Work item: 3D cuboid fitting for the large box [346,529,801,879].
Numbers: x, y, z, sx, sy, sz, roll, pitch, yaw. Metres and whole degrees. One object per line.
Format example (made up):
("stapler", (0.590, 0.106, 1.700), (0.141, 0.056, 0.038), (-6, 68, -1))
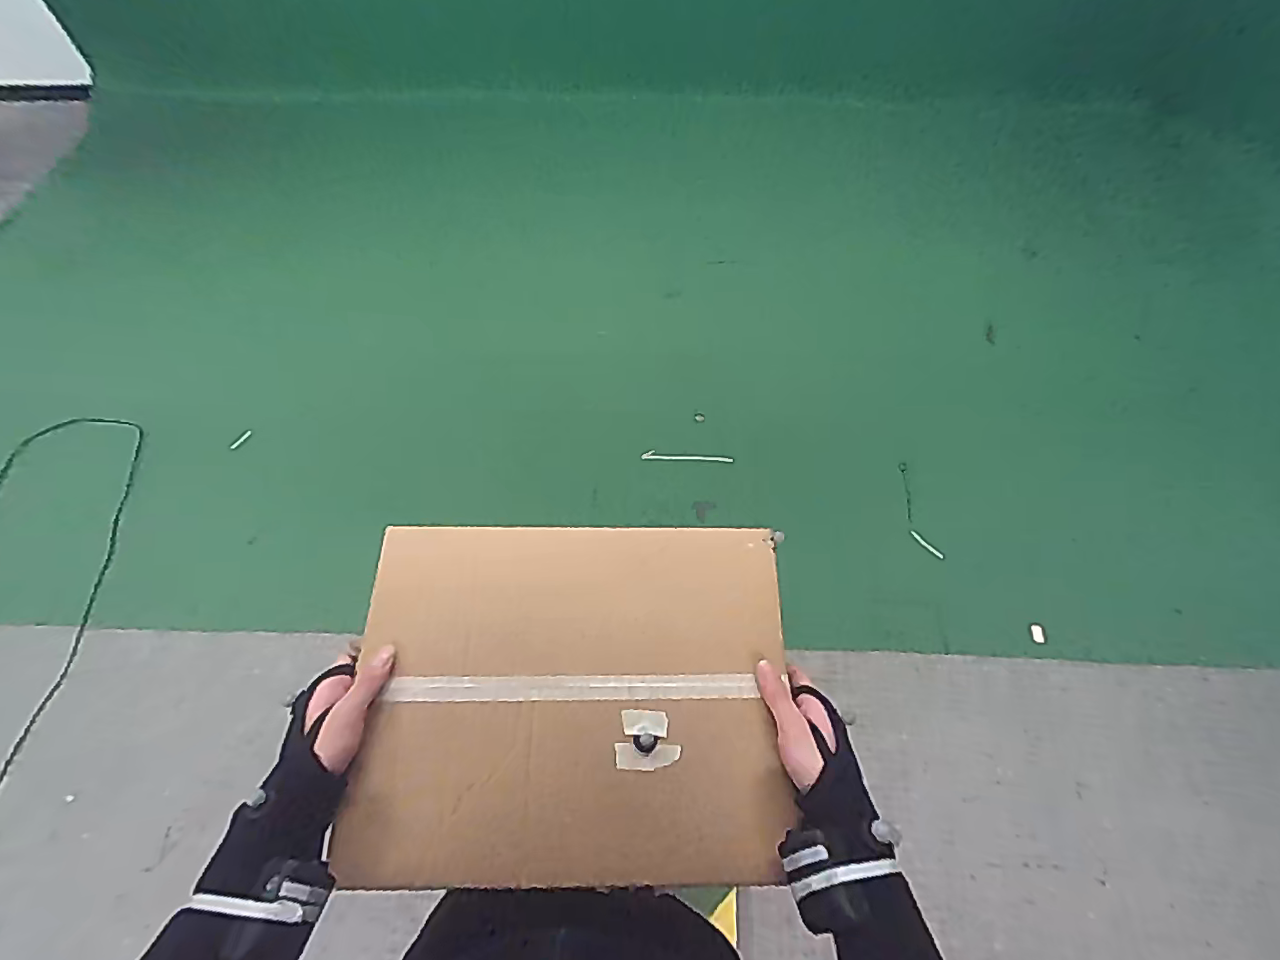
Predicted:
("large box", (-0.064, 0.255, 0.662), (0.408, 0.320, 0.320), (1, 67, -2))
